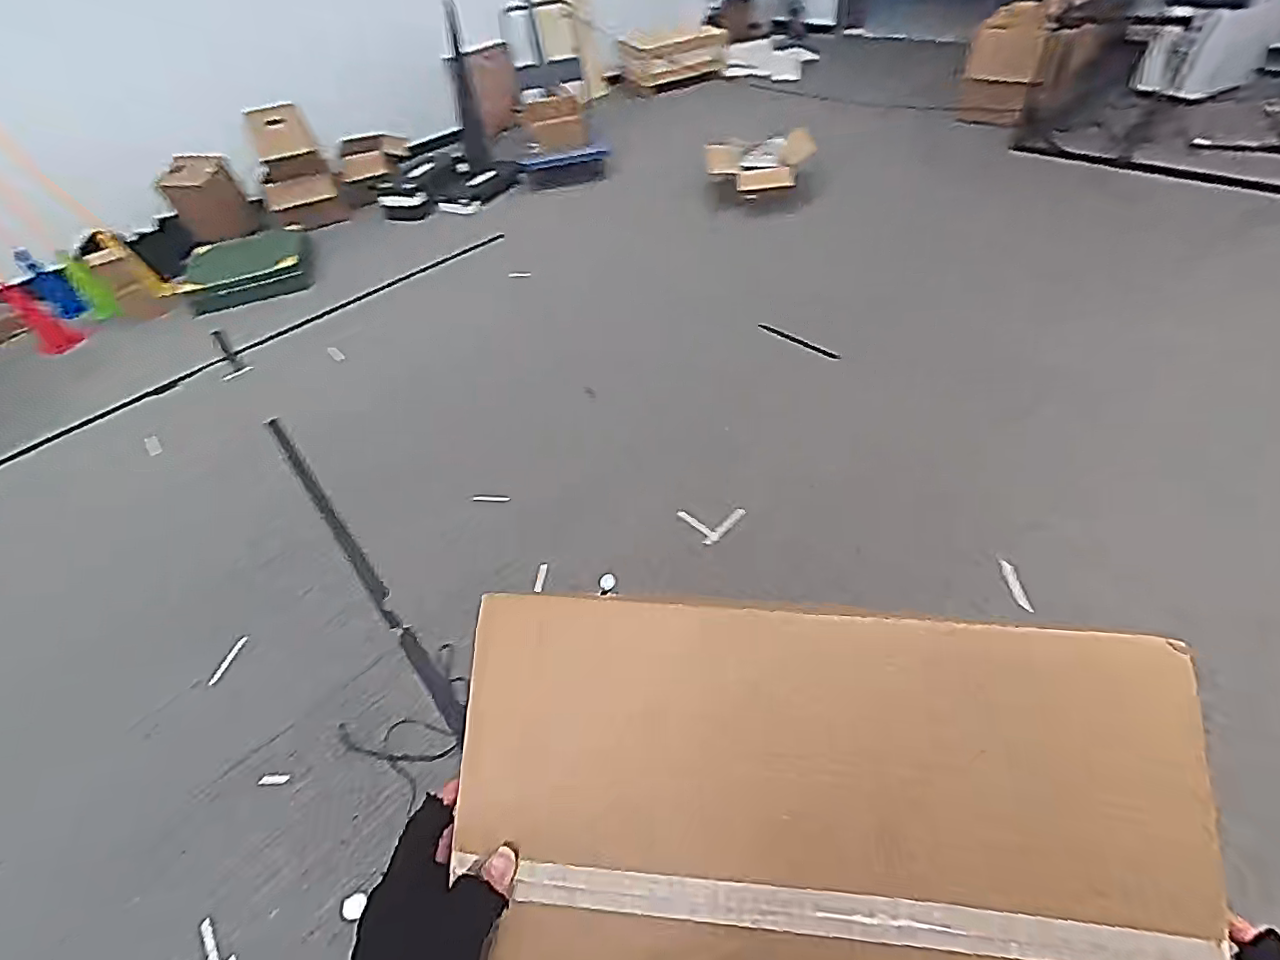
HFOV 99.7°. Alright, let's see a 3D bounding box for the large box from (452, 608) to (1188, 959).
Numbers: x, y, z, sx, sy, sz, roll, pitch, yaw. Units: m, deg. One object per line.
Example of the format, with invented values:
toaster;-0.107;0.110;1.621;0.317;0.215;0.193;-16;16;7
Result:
large box;0.101;0.268;0.449;0.408;0.320;0.320;1;79;6
